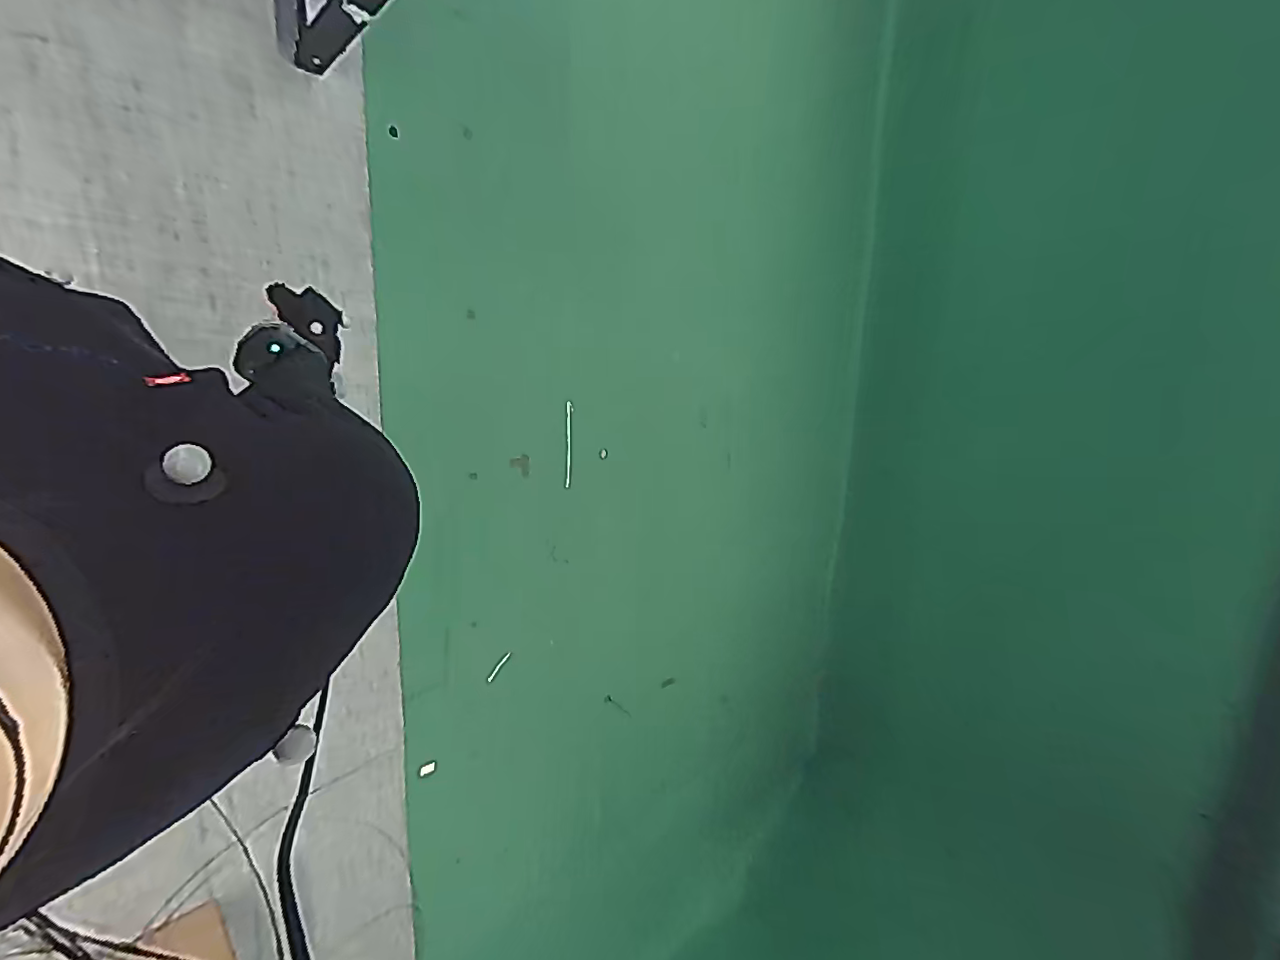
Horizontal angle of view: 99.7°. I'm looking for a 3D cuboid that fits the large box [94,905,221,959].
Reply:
[{"bbox_3d":[-1.132,1.248,1.140,0.408,0.320,0.320,-9,105,-49],"label":"large box"}]
